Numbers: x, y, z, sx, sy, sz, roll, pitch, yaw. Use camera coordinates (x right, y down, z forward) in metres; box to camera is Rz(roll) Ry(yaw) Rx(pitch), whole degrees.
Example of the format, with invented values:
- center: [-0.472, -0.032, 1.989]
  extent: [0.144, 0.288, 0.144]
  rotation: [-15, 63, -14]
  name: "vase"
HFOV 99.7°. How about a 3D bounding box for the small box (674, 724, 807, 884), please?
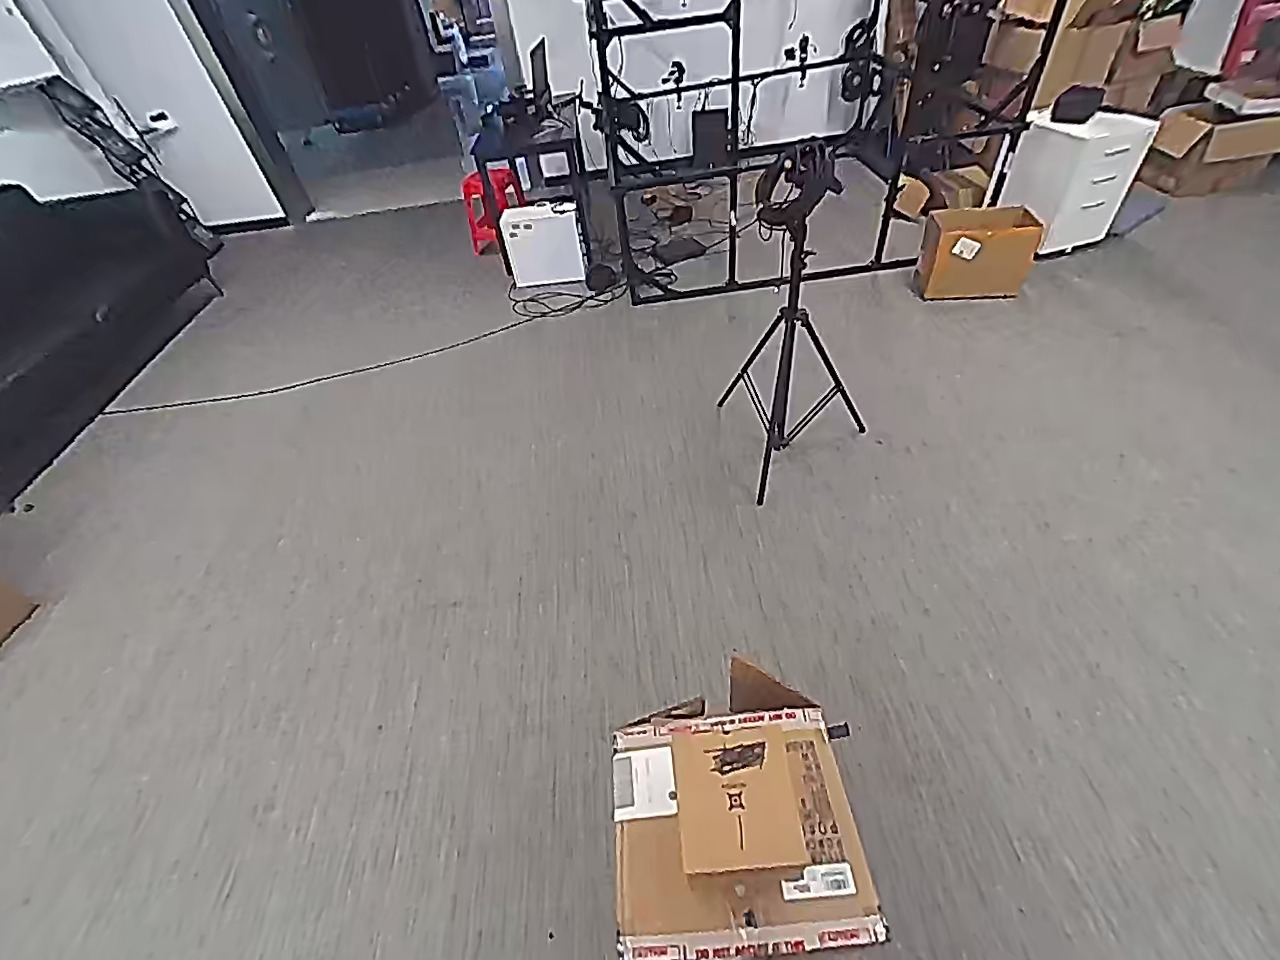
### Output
- center: [0.142, 0.492, 0.821]
  extent: [0.168, 0.176, 0.179]
  rotation: [-6, 48, 3]
  name: "small box"
